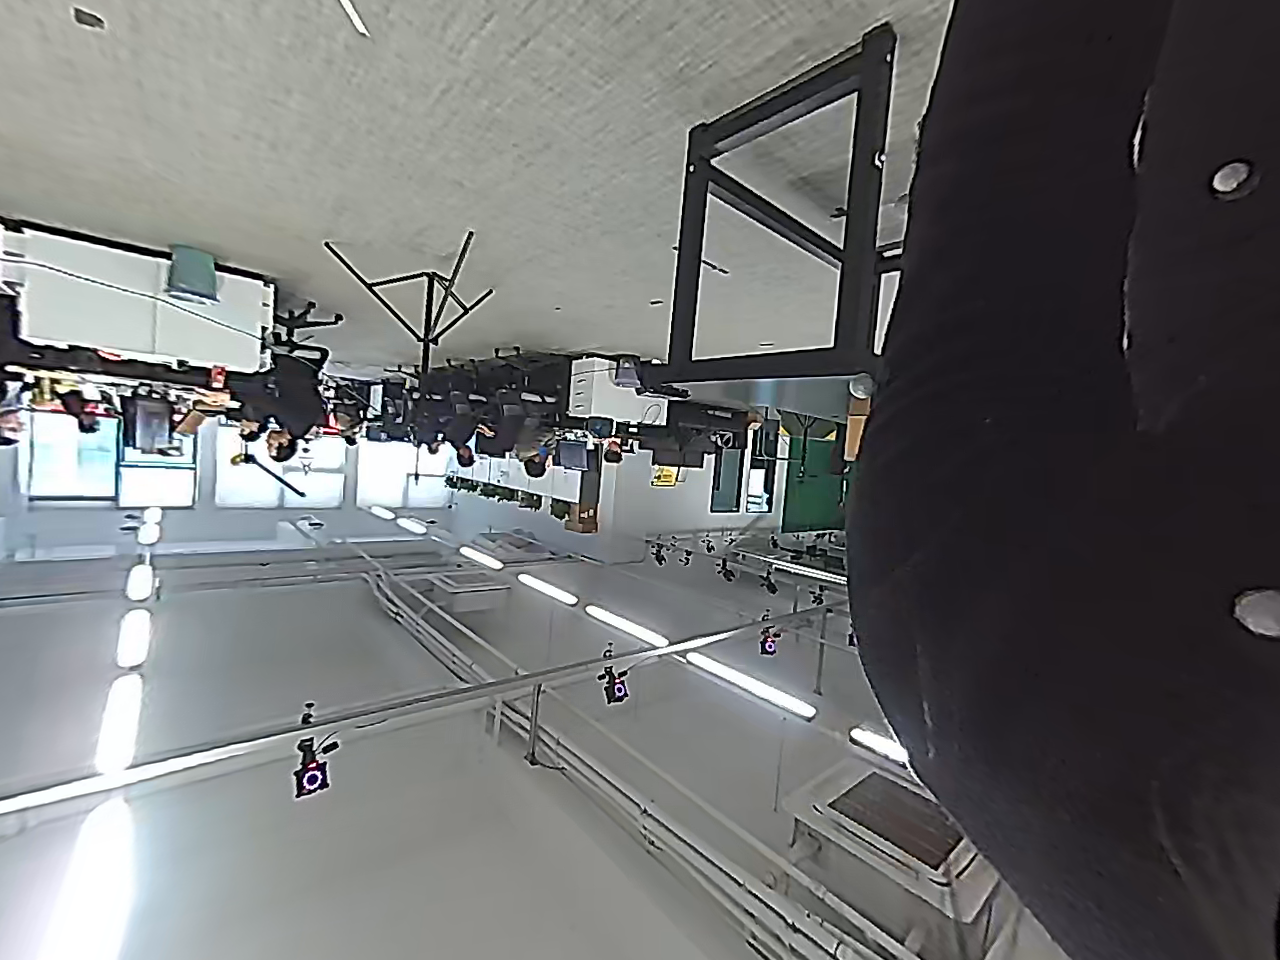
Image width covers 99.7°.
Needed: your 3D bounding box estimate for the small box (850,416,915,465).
[{"bbox_3d":[0.897,-0.147,1.994,0.168,0.176,0.179,3,-177,-44],"label":"small box"}]
